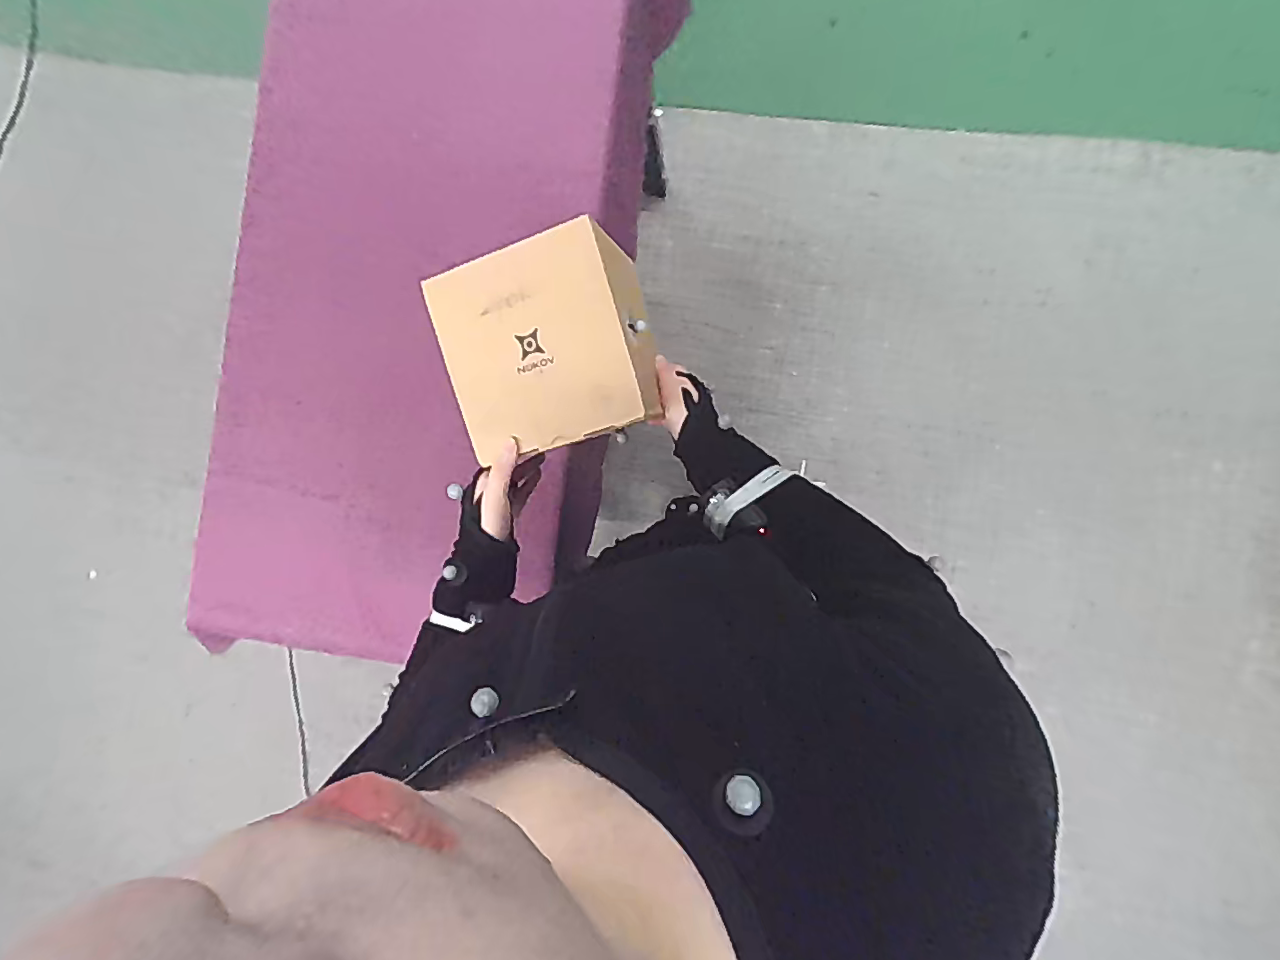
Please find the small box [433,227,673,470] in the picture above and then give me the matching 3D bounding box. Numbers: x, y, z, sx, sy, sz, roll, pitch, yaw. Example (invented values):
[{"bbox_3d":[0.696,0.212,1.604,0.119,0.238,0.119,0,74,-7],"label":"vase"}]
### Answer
[{"bbox_3d":[-0.071,-0.122,0.549,0.168,0.176,0.179,-14,96,13],"label":"small box"}]
